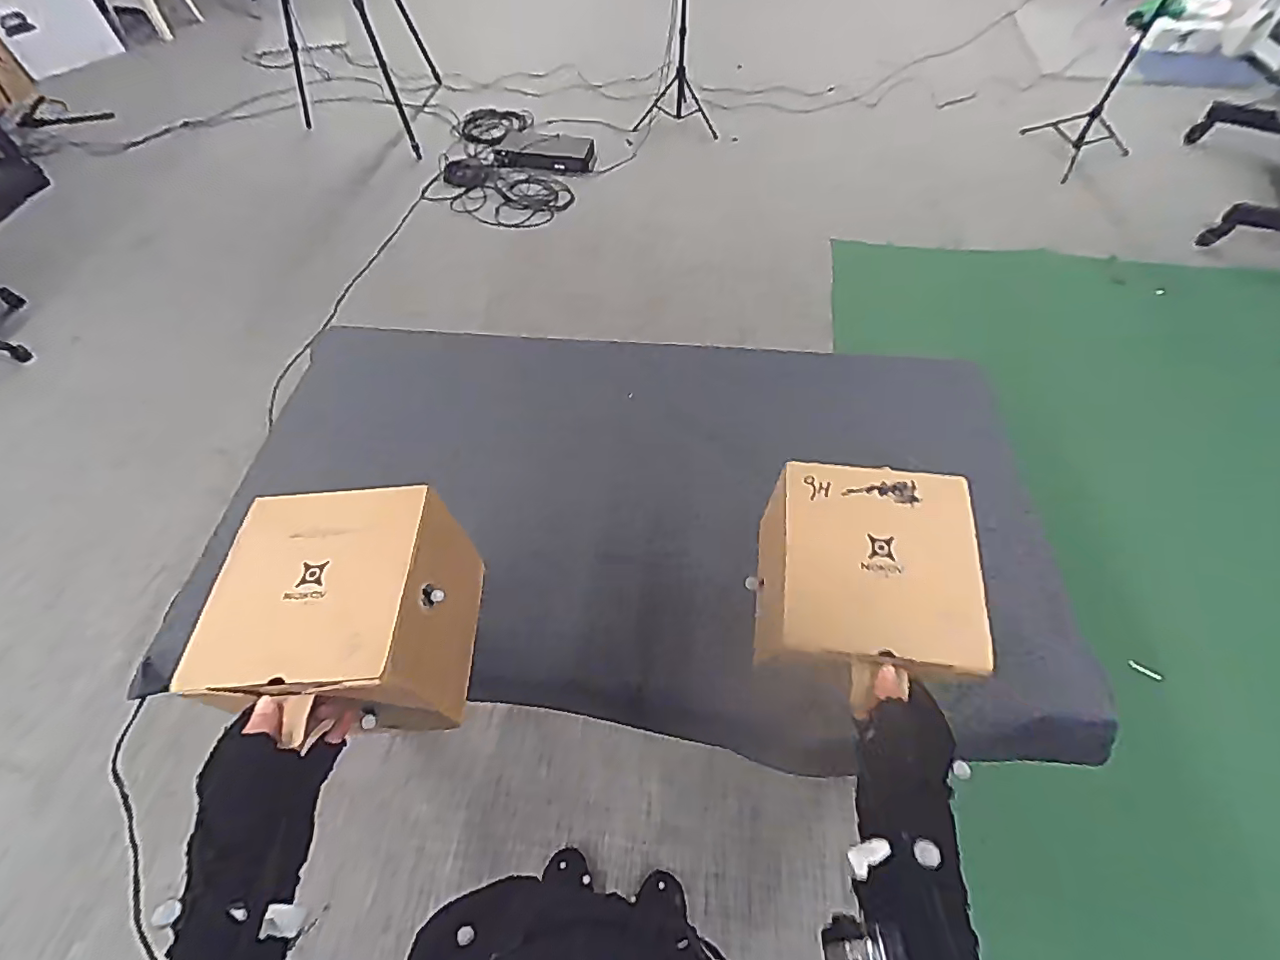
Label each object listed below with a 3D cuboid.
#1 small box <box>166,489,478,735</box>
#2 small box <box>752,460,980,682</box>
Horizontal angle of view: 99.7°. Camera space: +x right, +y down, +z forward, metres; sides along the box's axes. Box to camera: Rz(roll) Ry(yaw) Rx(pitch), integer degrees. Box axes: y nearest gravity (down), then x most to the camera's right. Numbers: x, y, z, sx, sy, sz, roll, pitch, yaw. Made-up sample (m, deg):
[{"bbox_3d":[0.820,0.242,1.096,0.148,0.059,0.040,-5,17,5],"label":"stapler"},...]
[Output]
[{"bbox_3d":[-0.263,0.130,0.504,0.168,0.176,0.179,-4,53,2],"label":"small box"},{"bbox_3d":[0.210,0.101,0.547,0.168,0.176,0.179,6,66,6],"label":"small box"}]
